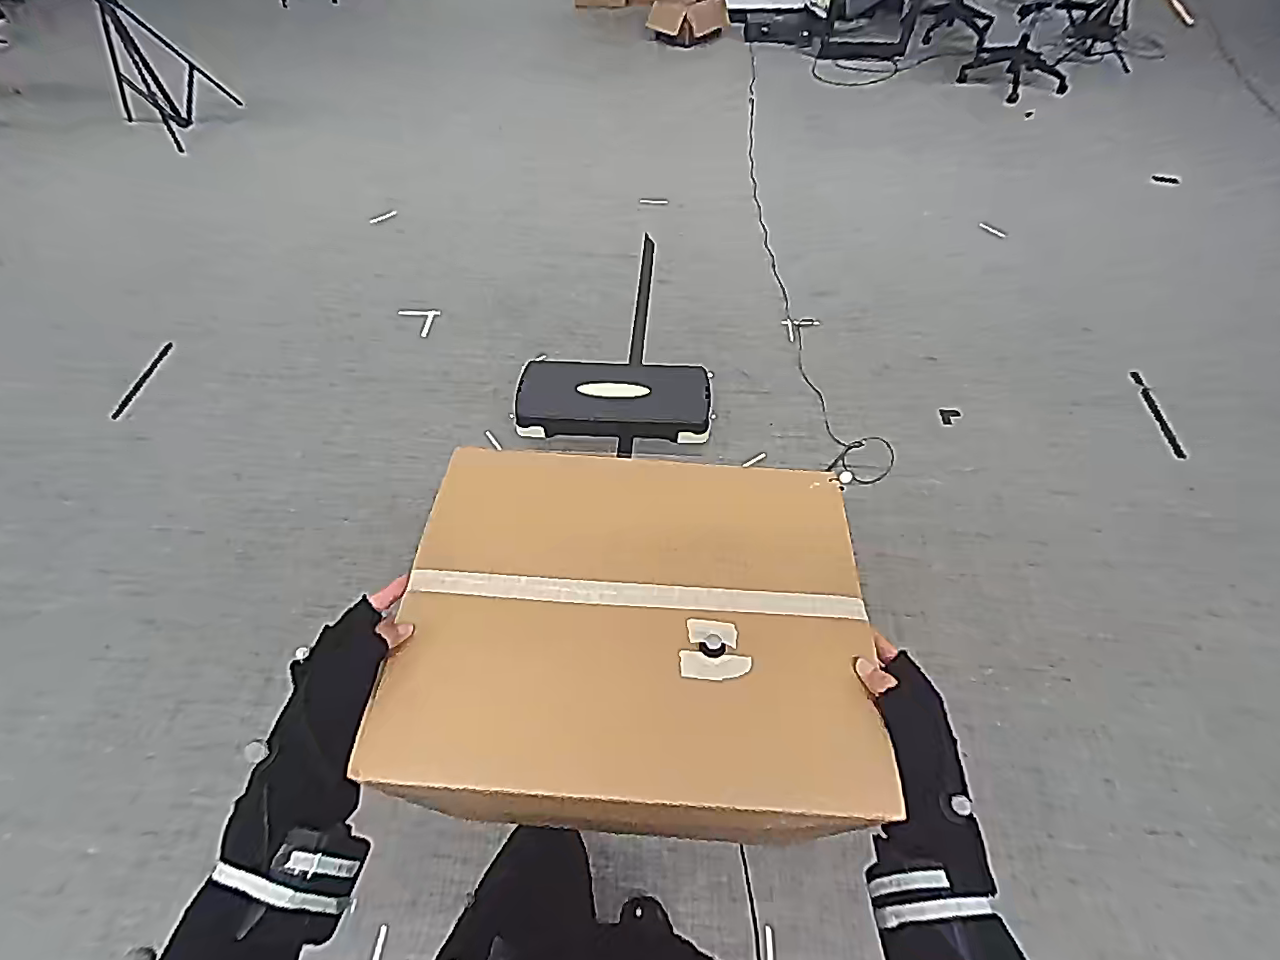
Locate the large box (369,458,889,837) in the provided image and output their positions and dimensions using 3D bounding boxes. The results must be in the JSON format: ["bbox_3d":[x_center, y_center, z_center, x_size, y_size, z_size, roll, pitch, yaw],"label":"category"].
[{"bbox_3d":[-0.008,0.198,0.613,0.408,0.320,0.320,4,53,1],"label":"large box"}]
